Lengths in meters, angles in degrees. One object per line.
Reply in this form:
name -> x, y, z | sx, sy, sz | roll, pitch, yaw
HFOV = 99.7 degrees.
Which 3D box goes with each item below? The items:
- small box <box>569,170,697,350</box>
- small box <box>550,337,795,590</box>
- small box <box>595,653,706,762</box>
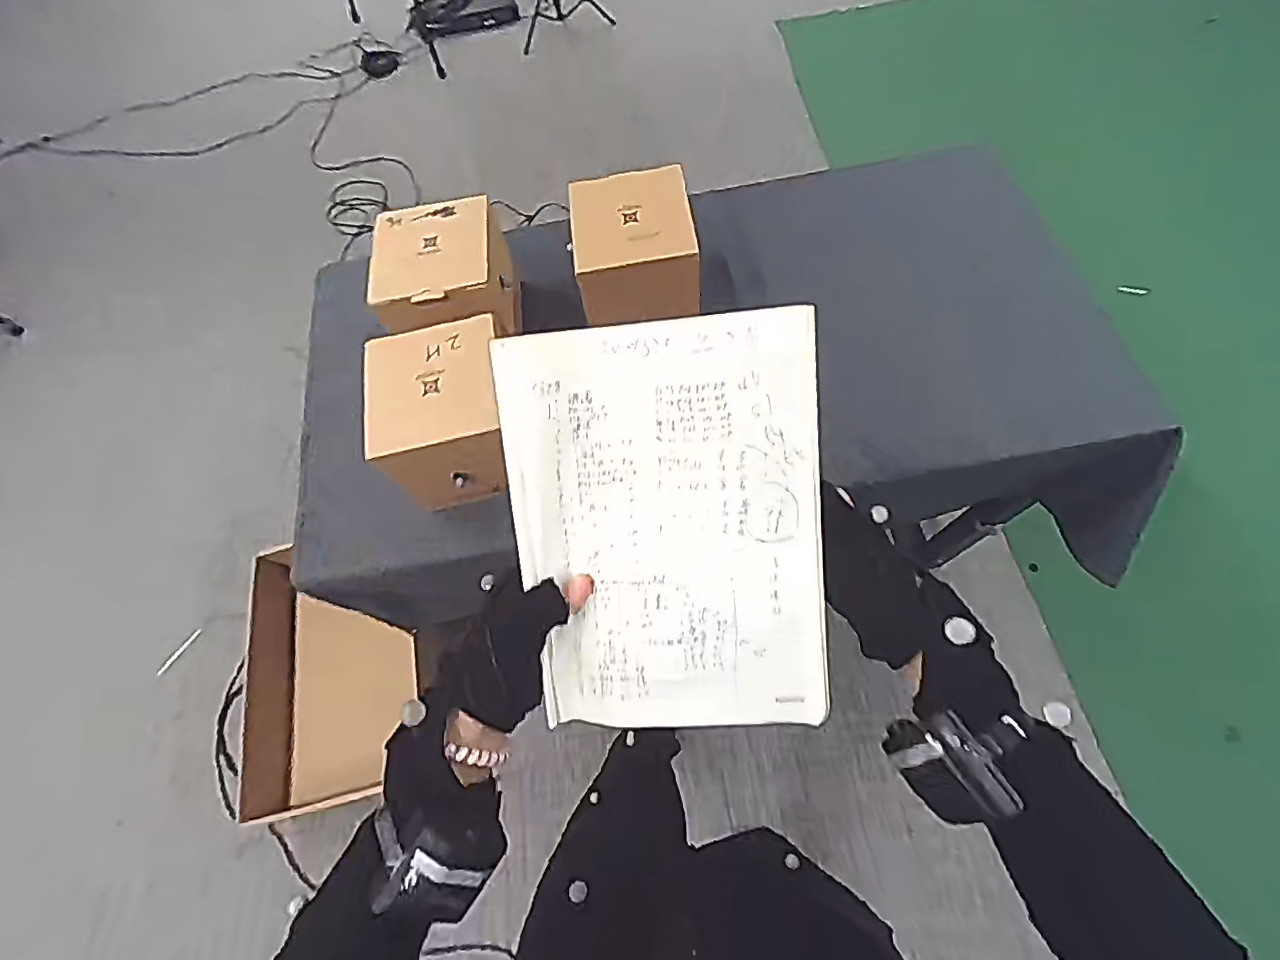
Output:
small box -> -0.008, -0.323, 0.812 | 0.168, 0.176, 0.179 | -8, 66, 3
small box -> 0.031, -0.001, 0.499 | 0.168, 0.176, 0.179 | -13, 79, 7
small box -> 0.019, 0.516, 1.241 | 0.179, 0.176, 0.168 | 28, 83, 34
